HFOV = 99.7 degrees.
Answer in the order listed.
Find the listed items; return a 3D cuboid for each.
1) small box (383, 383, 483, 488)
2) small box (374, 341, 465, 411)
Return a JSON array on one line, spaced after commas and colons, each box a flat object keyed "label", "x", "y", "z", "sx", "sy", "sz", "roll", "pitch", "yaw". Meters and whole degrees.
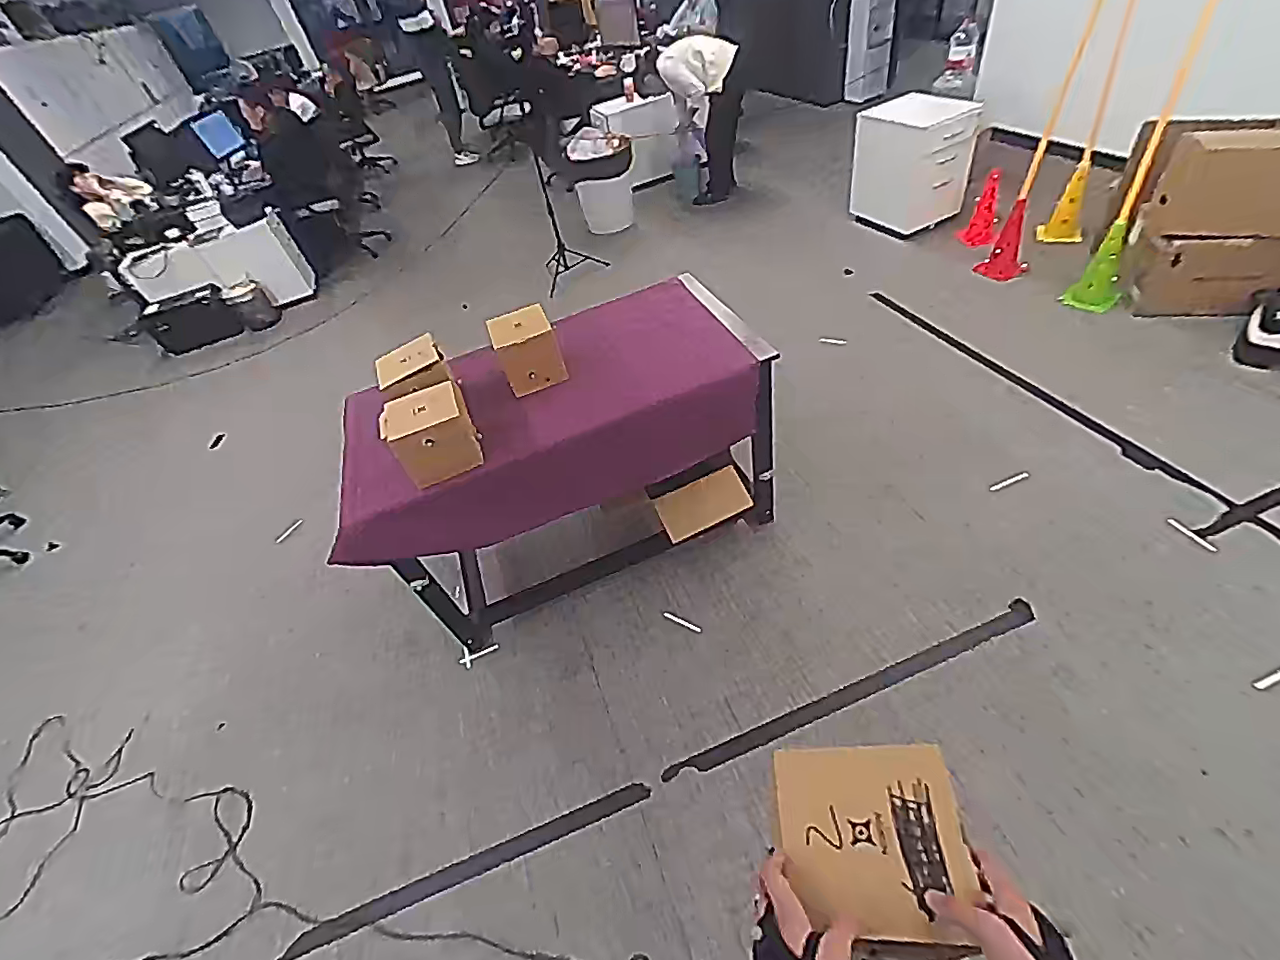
[{"label": "small box", "x": -0.519, "y": -0.108, "z": 1.360, "sx": 0.179, "sy": 0.176, "sz": 0.168, "roll": -23, "pitch": 46, "yaw": -8}, {"label": "small box", "x": -0.619, "y": -0.255, "z": 1.523, "sx": 0.179, "sy": 0.176, "sz": 0.168, "roll": -24, "pitch": 47, "yaw": -9}]
